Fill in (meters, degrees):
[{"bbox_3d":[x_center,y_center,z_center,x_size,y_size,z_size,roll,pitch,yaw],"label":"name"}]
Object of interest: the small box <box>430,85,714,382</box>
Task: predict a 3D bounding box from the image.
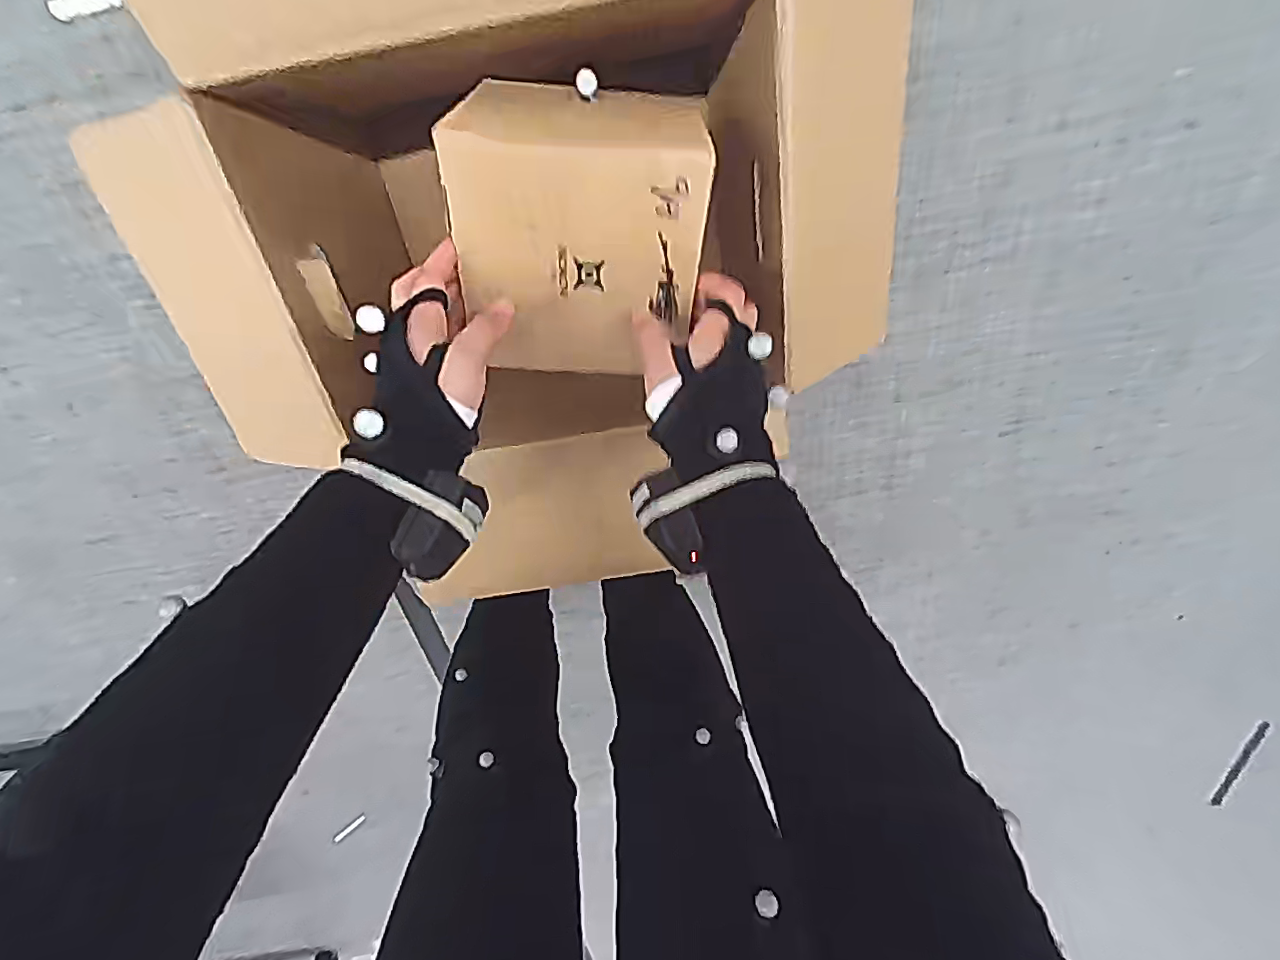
[{"bbox_3d":[-0.049,-0.201,0.439,0.179,0.176,0.168,3,136,-5],"label":"small box"}]
